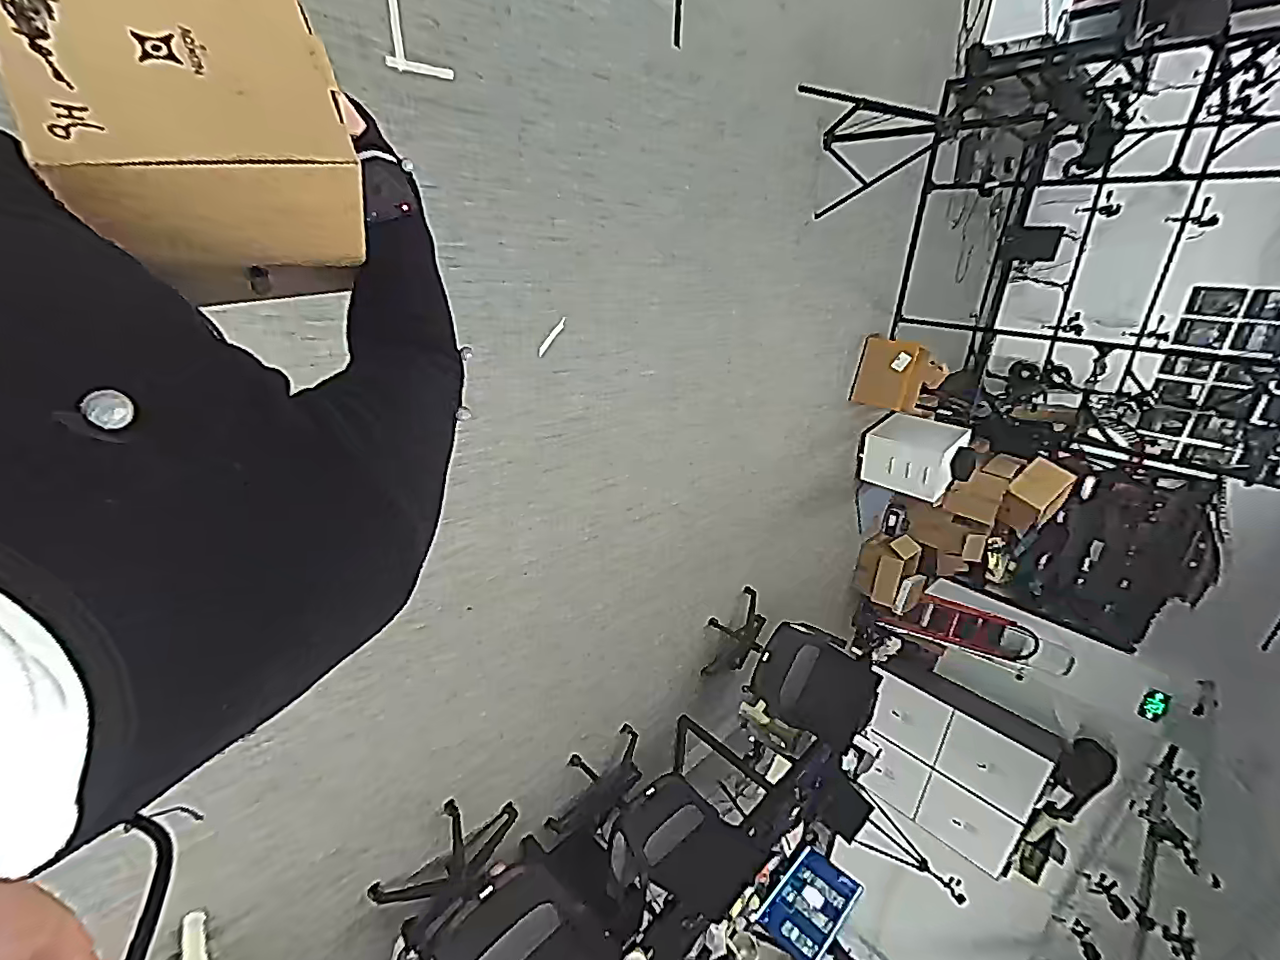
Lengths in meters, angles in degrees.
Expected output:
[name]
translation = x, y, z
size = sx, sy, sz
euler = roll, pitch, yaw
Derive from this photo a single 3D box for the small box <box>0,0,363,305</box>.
[small box]
translation = -0.341, -0.263, 0.437
size = 0.179, 0.176, 0.168
euler = -19, 84, -28
